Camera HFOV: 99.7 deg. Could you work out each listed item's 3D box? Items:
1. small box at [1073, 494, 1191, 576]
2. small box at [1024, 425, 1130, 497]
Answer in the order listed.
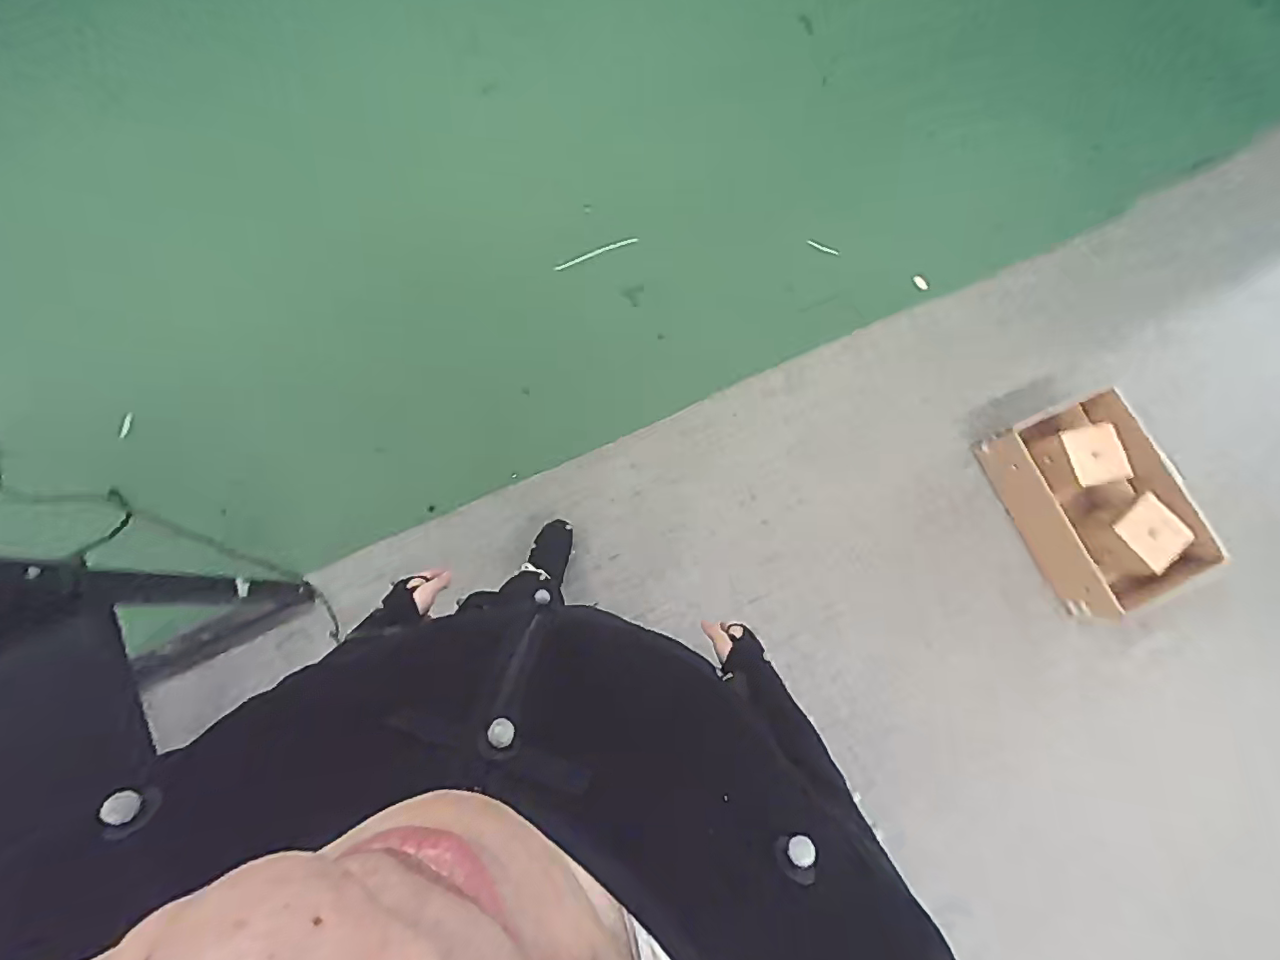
[{"bbox_3d":[1.462,0.172,1.626,0.179,0.176,0.168,-39,81,-11],"label":"small box"},{"bbox_3d":[1.337,-0.053,1.675,0.179,0.176,0.168,-12,78,-7],"label":"small box"}]
